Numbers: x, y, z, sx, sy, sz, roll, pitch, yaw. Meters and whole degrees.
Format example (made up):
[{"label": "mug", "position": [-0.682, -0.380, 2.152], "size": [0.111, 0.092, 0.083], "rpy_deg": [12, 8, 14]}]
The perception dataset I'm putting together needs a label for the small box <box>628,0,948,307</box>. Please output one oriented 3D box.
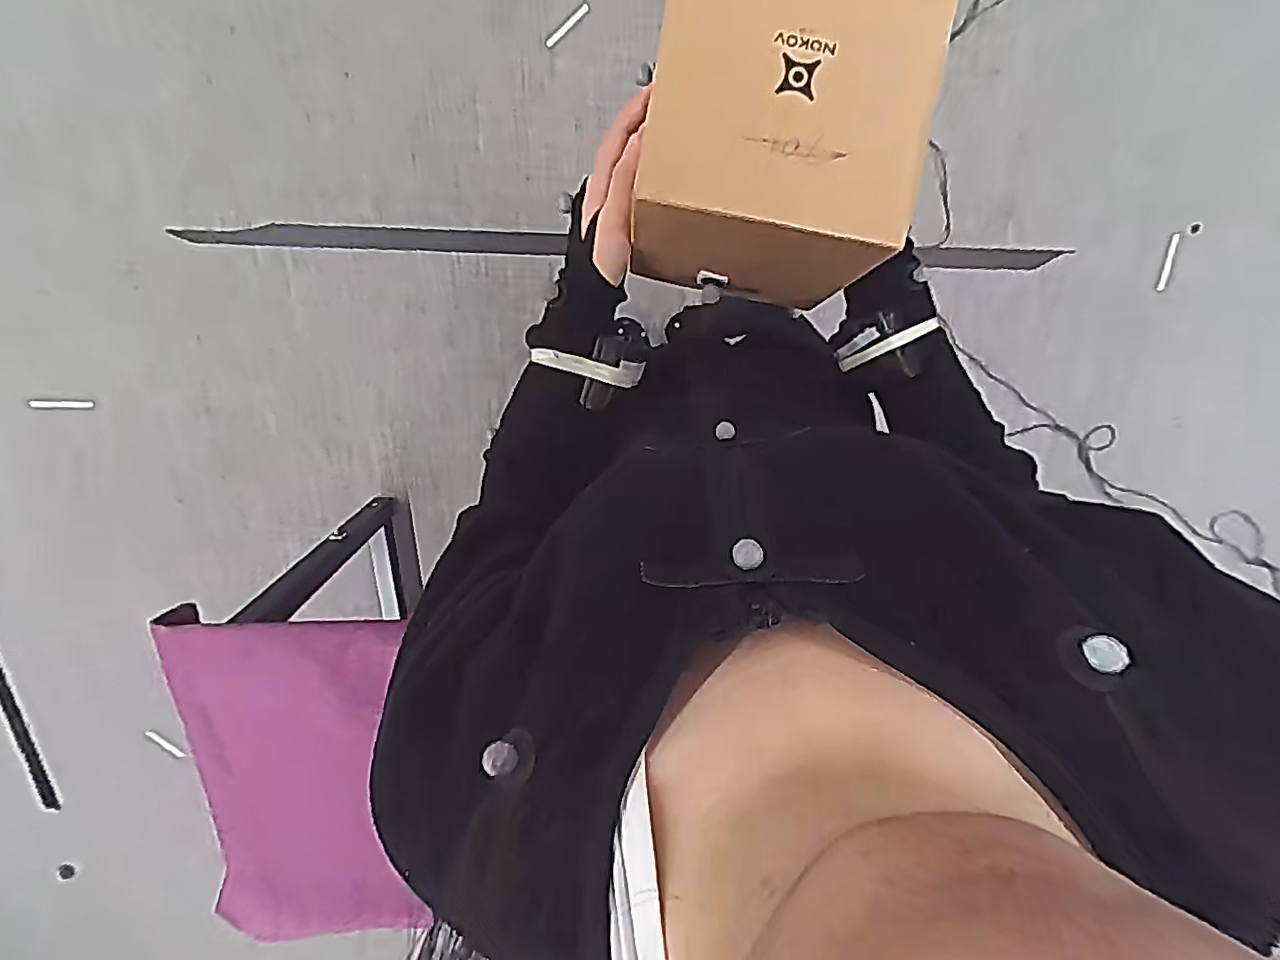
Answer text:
[{"label": "small box", "position": [0.085, -0.246, 0.395], "size": [0.168, 0.176, 0.179], "rpy_deg": [11, 95, -3]}]
